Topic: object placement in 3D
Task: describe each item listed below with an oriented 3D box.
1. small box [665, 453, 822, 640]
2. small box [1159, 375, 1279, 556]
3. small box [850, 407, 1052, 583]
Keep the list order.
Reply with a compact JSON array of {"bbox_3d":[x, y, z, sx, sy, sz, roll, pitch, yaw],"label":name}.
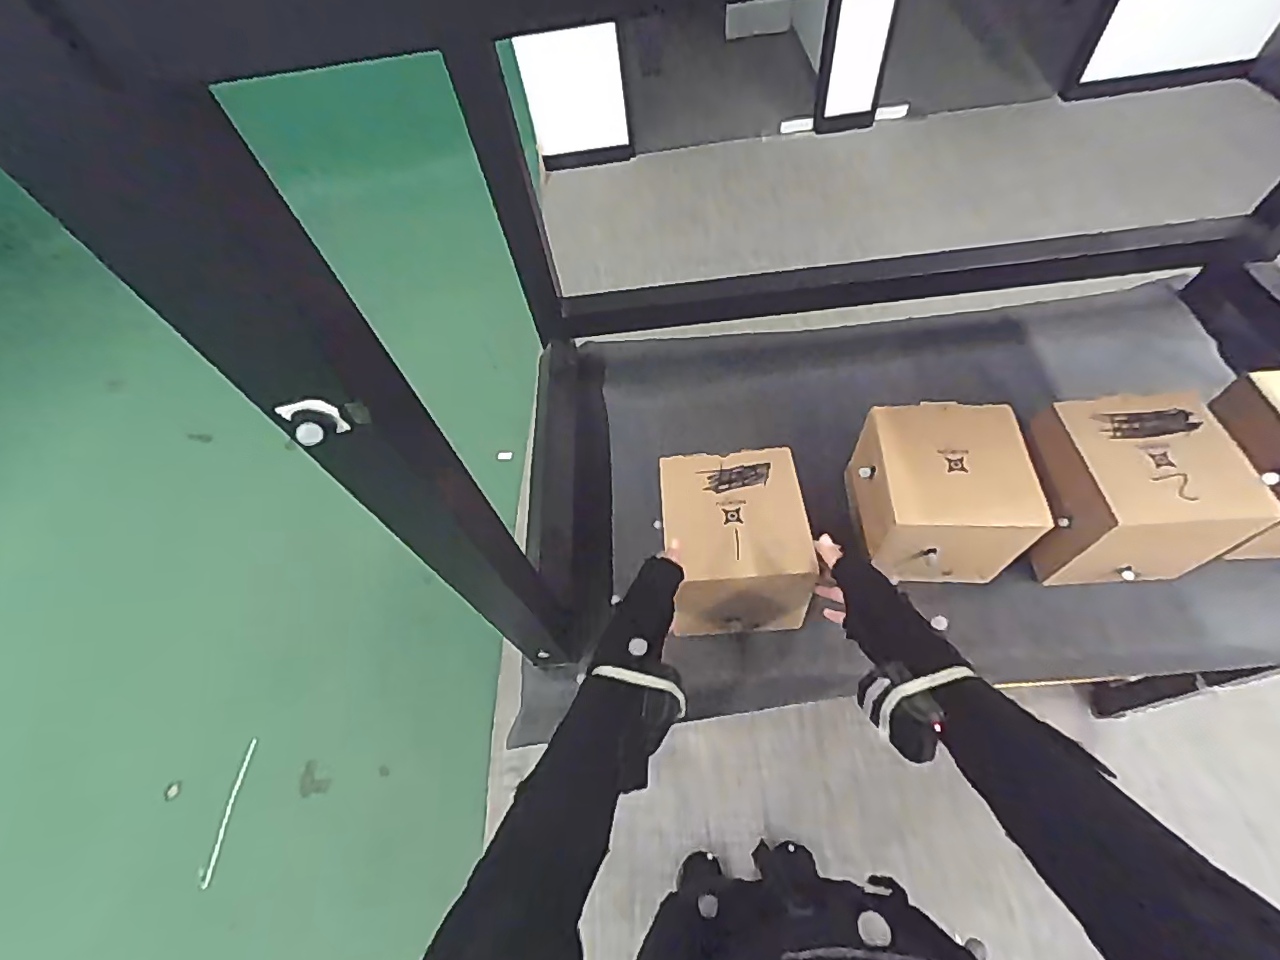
[{"bbox_3d":[0.121,0.089,0.694,0.168,0.176,0.179,-6,54,5],"label":"small box"},{"bbox_3d":[0.821,-0.014,0.669,0.168,0.176,0.179,-3,56,6],"label":"small box"},{"bbox_3d":[0.384,0.026,0.707,0.168,0.176,0.179,0,57,8],"label":"small box"}]
